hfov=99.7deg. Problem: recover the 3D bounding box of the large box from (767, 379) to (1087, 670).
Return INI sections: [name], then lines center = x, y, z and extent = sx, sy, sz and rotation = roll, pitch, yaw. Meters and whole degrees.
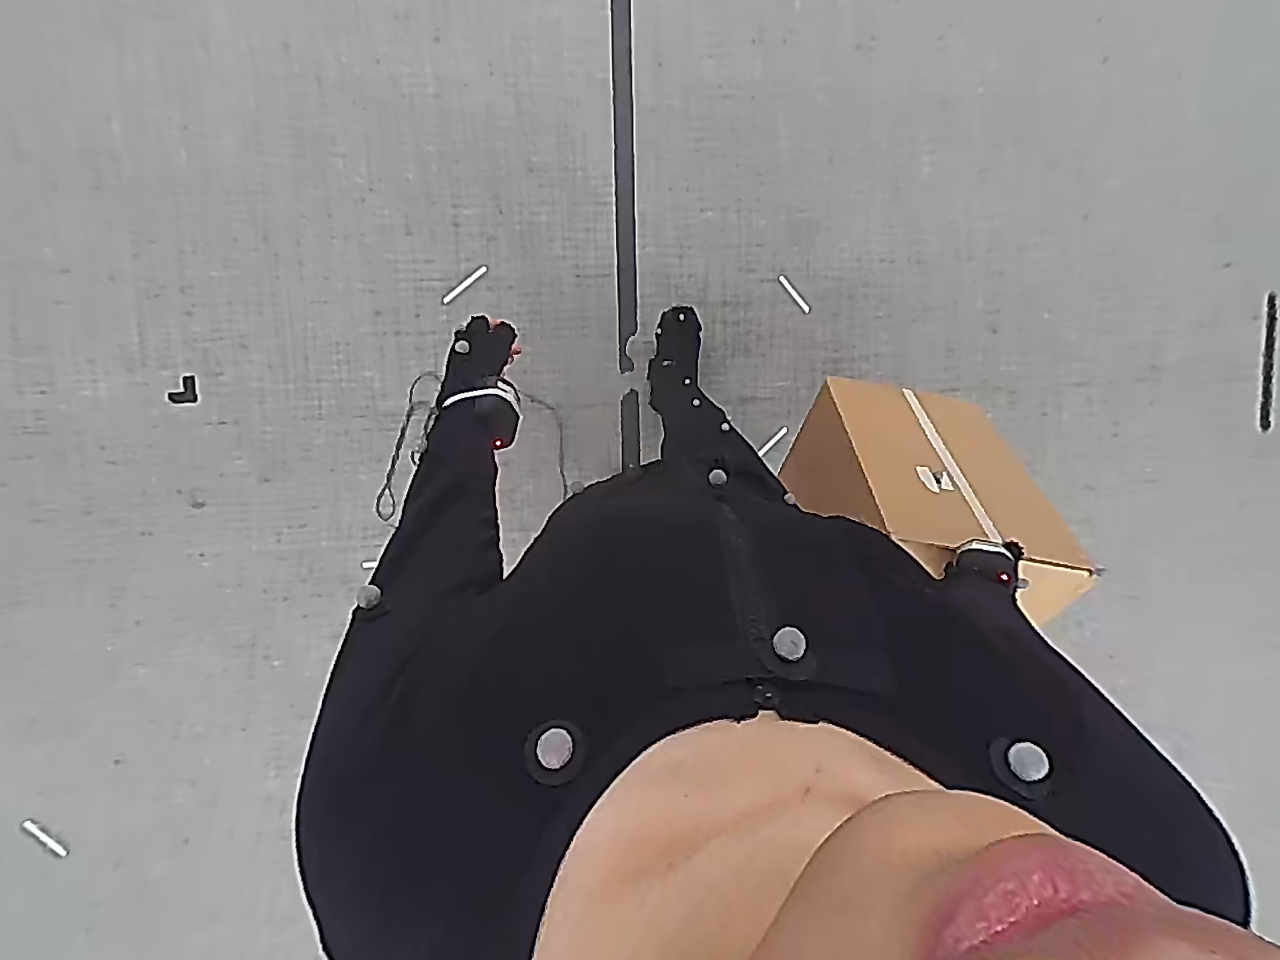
[large box]
center = 0.457, 0.075, 0.988
extent = 0.320, 0.408, 0.320
rotation = 9, 133, -7
